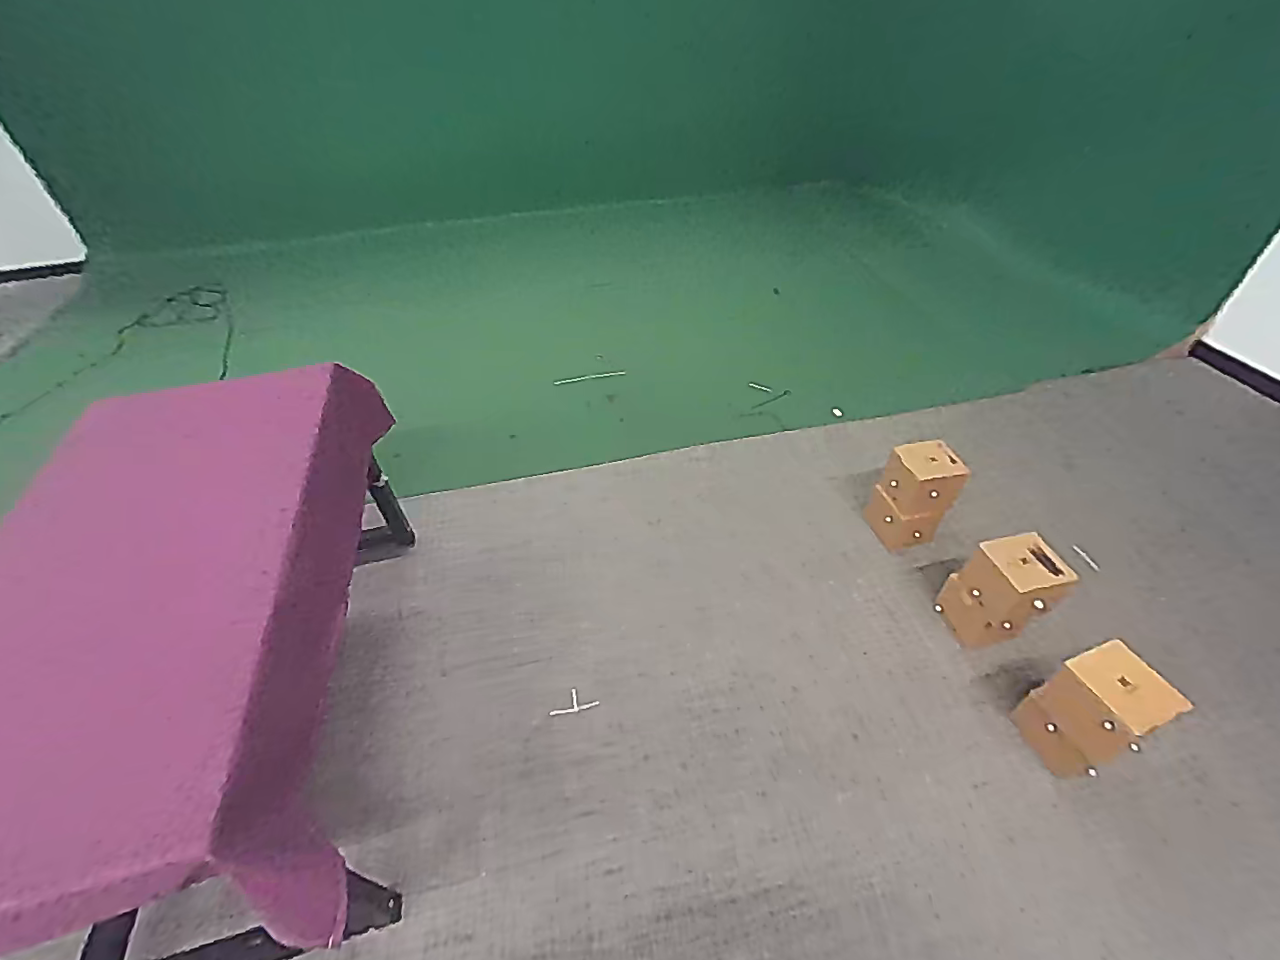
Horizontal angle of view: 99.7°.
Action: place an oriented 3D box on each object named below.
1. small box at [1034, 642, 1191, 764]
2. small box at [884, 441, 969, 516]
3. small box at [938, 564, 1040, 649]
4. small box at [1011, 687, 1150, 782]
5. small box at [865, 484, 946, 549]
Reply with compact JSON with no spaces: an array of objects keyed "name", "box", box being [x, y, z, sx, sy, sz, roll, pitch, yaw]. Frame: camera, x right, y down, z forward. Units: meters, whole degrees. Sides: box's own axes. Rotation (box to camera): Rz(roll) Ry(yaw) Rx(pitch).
[{"name":"small box","box":[1.061,0.509,1.234,0.168,0.176,0.179,-17,46,-12]},{"name":"small box","box":[0.921,-0.001,1.763,0.179,0.176,0.168,-9,45,-4]},{"name":"small box","box":[1.019,0.379,1.603,0.179,0.176,0.168,-11,45,-8]},{"name":"small box","box":[1.084,0.619,1.352,0.168,0.176,0.179,-13,45,-8]},{"name":"small box","box":[0.912,0.122,1.874,0.168,0.176,0.179,-11,45,-8]}]
